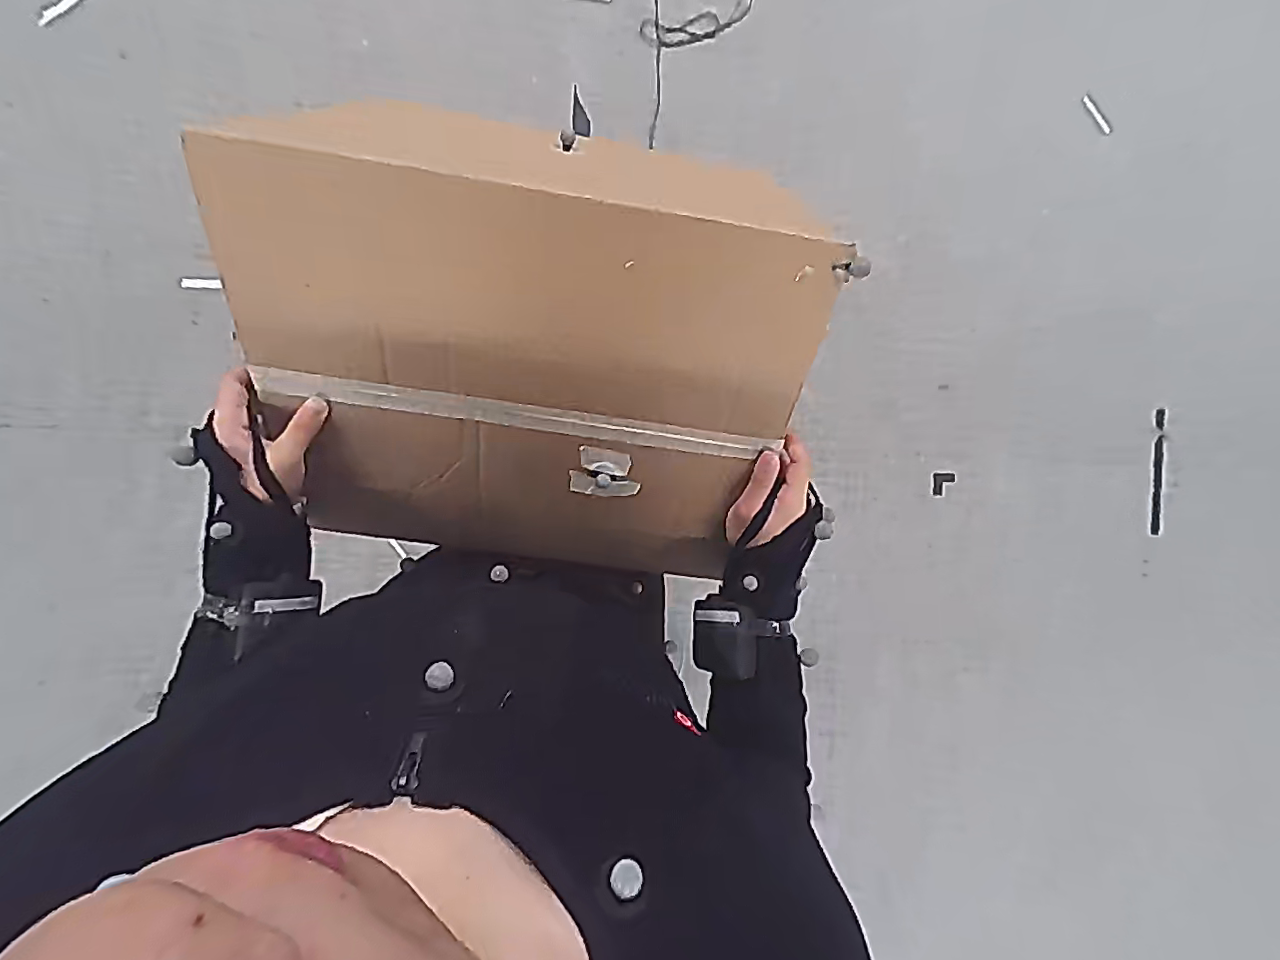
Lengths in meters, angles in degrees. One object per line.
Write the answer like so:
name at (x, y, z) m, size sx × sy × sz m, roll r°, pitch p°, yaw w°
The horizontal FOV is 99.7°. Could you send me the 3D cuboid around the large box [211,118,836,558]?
large box at (-0.086, -0.151, 0.548) m, size 0.408 × 0.320 × 0.320 m, roll 6°, pitch 128°, yaw -5°
